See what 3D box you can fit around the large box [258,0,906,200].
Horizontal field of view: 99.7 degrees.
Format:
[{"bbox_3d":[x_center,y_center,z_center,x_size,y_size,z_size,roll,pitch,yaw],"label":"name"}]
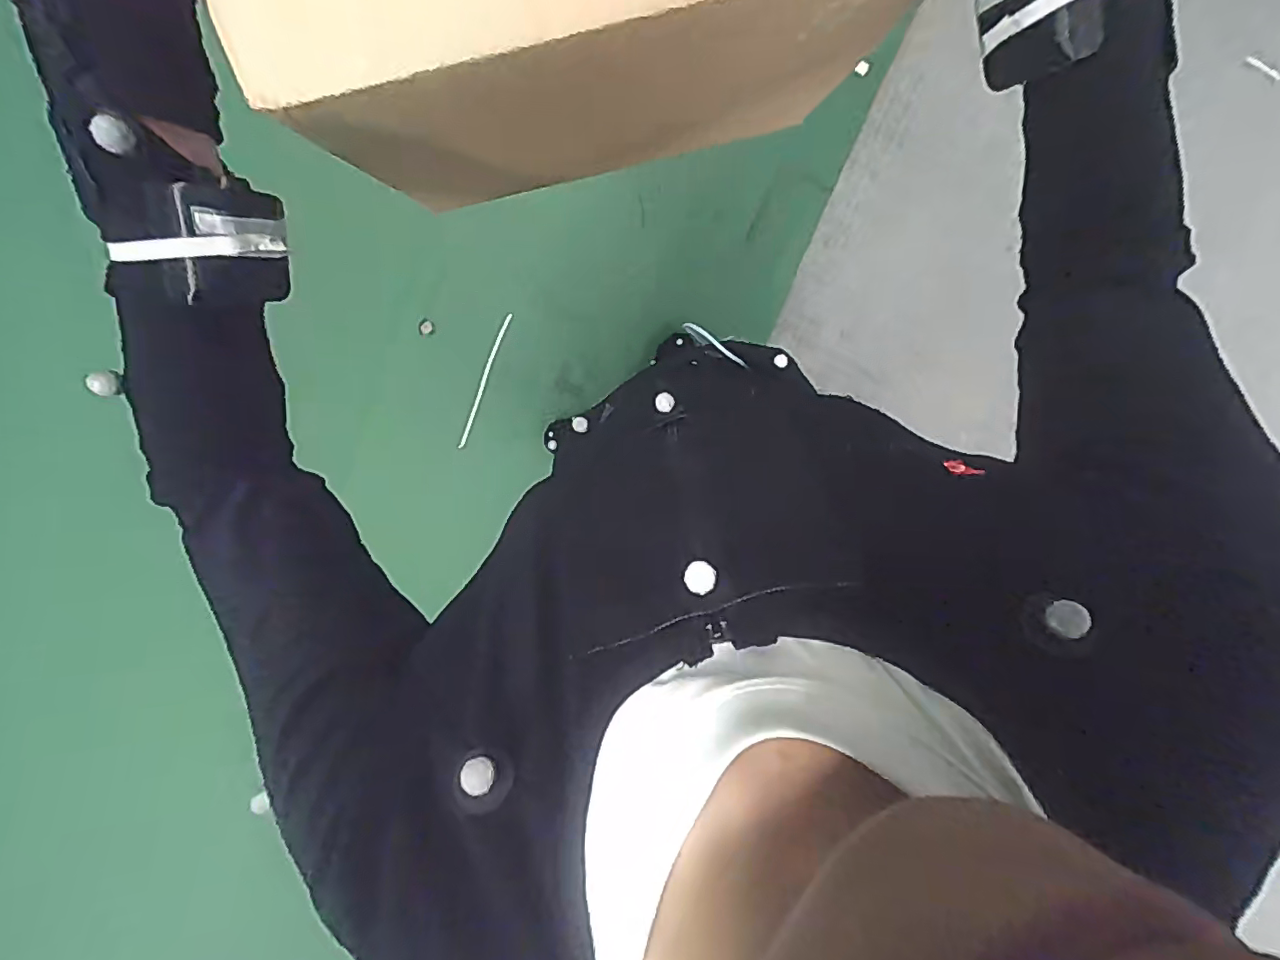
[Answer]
[{"bbox_3d":[-0.043,-0.439,0.385,0.408,0.320,0.320,-14,108,0],"label":"large box"}]
